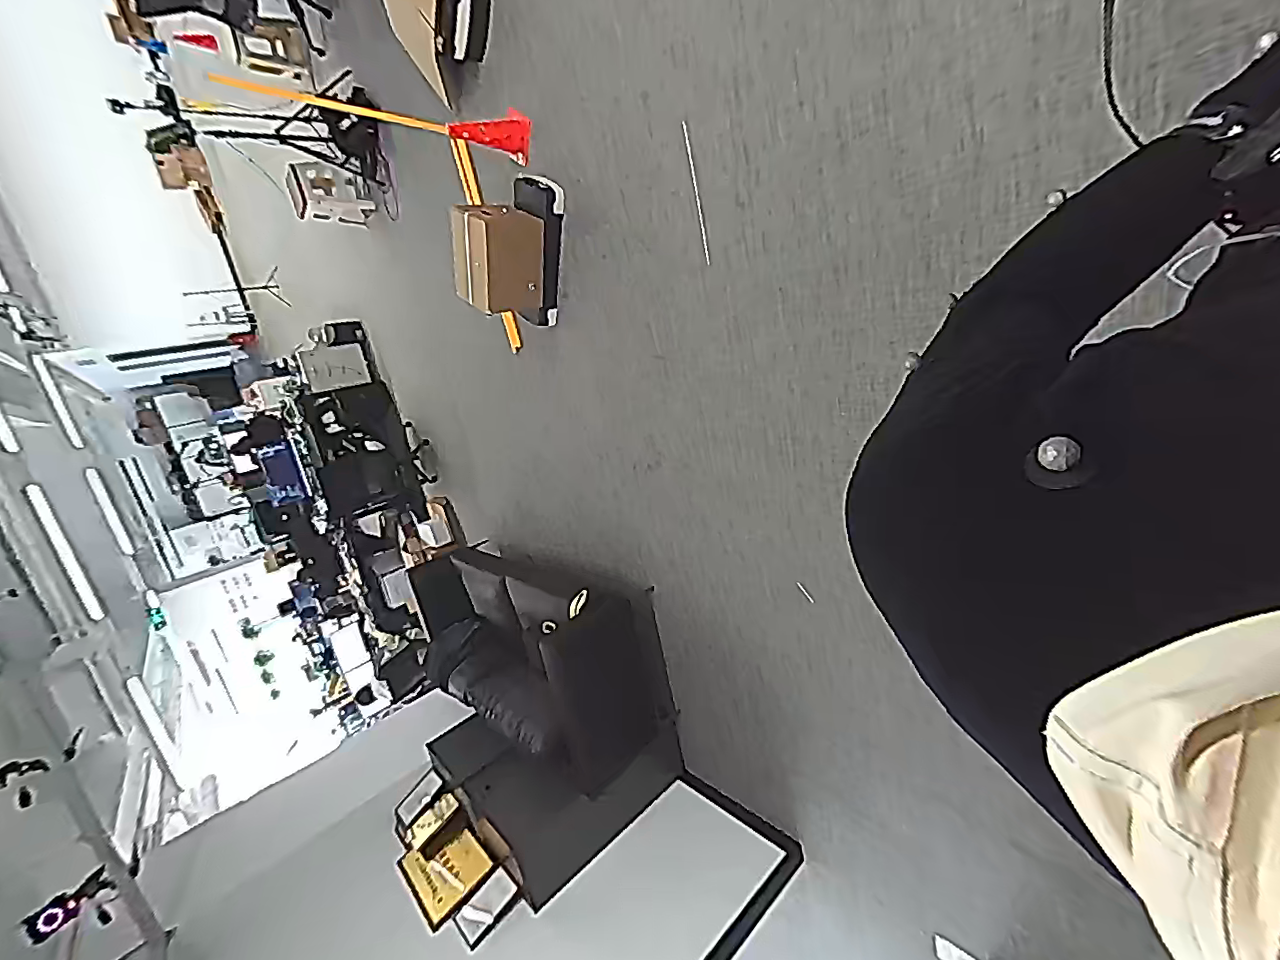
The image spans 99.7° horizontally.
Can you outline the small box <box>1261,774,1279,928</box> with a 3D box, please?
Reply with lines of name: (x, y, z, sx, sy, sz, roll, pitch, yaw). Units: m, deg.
small box: (0.981, 0.529, 0.724, 0.179, 0.176, 0.168, 10, 115, 49)
